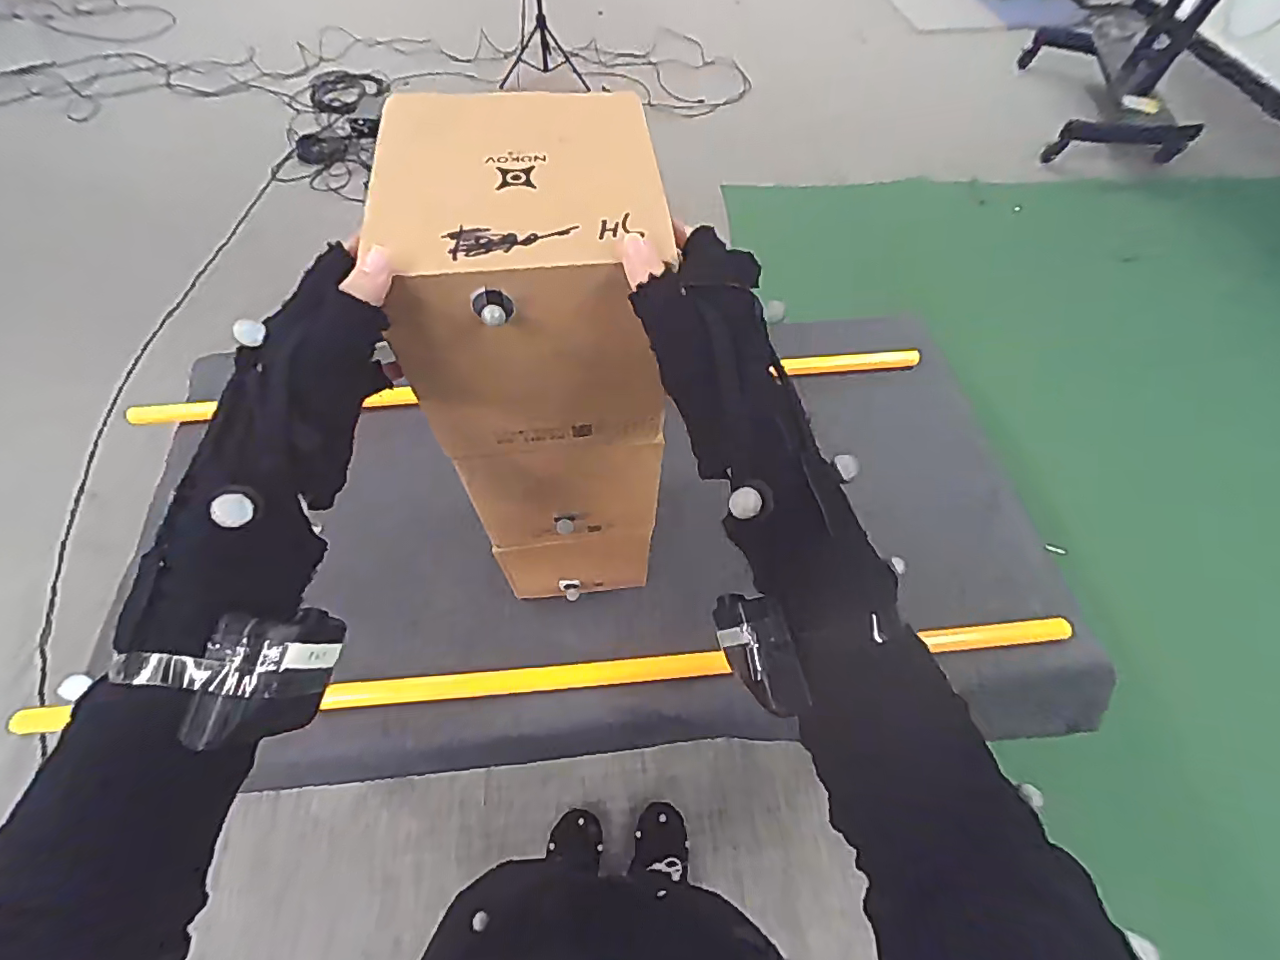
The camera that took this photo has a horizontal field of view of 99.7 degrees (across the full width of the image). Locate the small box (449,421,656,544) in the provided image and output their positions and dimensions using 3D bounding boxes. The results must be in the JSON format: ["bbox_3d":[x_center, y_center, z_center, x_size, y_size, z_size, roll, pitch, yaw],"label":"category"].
[{"bbox_3d":[-0.079,-0.055,0.535,0.168,0.176,0.179,-5,60,-5],"label":"small box"}]

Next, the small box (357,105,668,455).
[{"bbox_3d":[-0.077,-0.139,0.395,0.168,0.176,0.179,-6,59,-5],"label":"small box"}]

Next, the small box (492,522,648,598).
[{"bbox_3d":[-0.086,0.031,0.675,0.168,0.176,0.179,-7,61,-5],"label":"small box"}]
